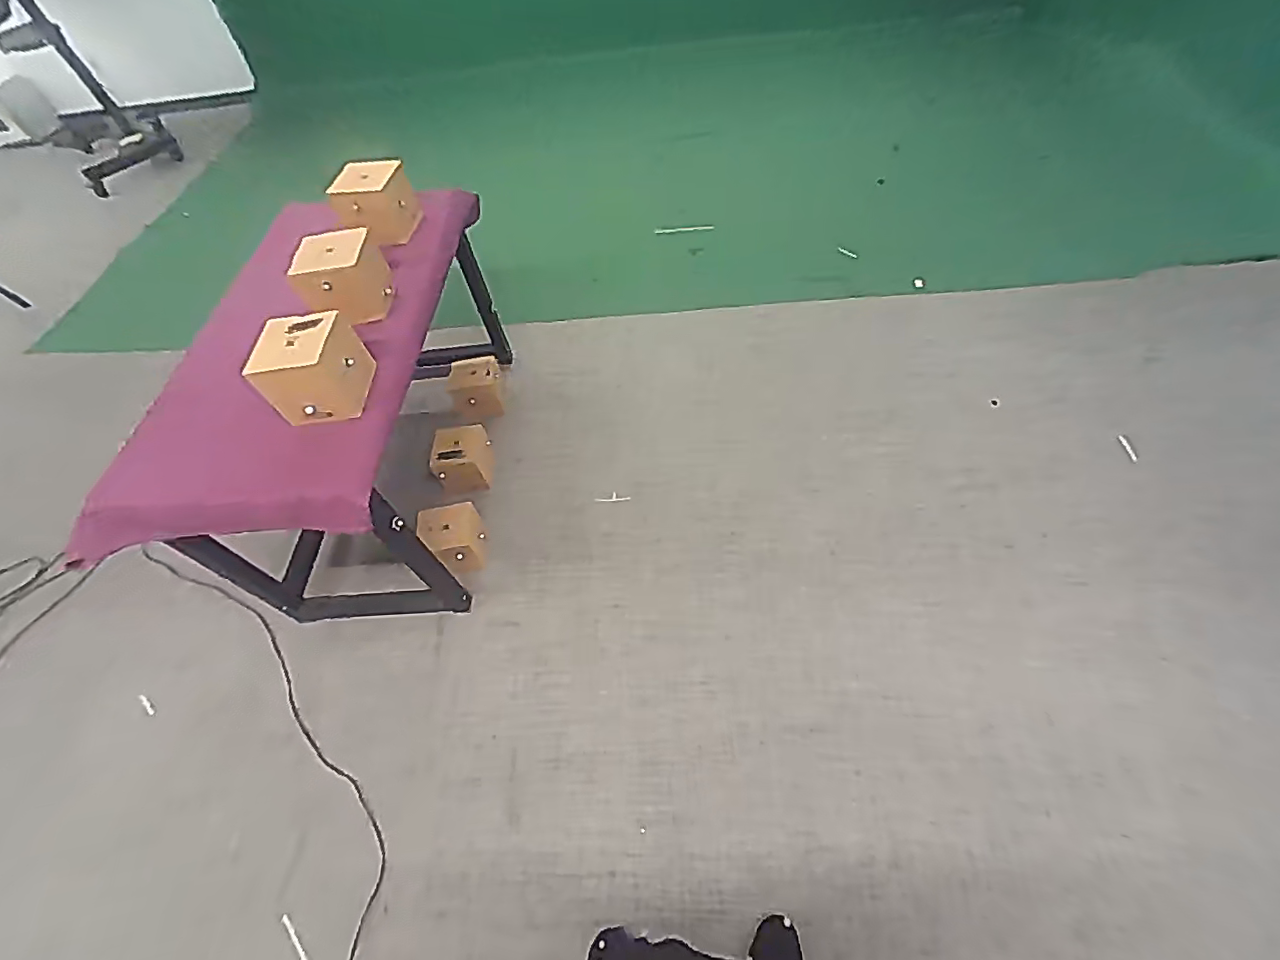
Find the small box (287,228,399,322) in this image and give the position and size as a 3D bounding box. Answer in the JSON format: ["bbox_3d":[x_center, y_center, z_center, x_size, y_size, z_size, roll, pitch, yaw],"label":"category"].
[{"bbox_3d":[-0.762,-0.523,1.405,0.179,0.176,0.168,-7,55,2],"label":"small box"}]

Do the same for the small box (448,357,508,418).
[{"bbox_3d":[-0.646,-0.365,2.171,0.179,0.176,0.168,-9,54,1],"label":"small box"}]

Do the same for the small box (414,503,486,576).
[{"bbox_3d":[-0.614,0.199,1.771,0.179,0.176,0.168,-10,55,0],"label":"small box"}]

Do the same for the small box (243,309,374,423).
[{"bbox_3d":[-0.724,-0.252,1.206,0.168,0.176,0.179,-7,55,4],"label":"small box"}]

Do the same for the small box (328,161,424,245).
[{"bbox_3d":[-0.778,-0.822,1.617,0.179,0.176,0.168,1,56,9],"label":"small box"}]
